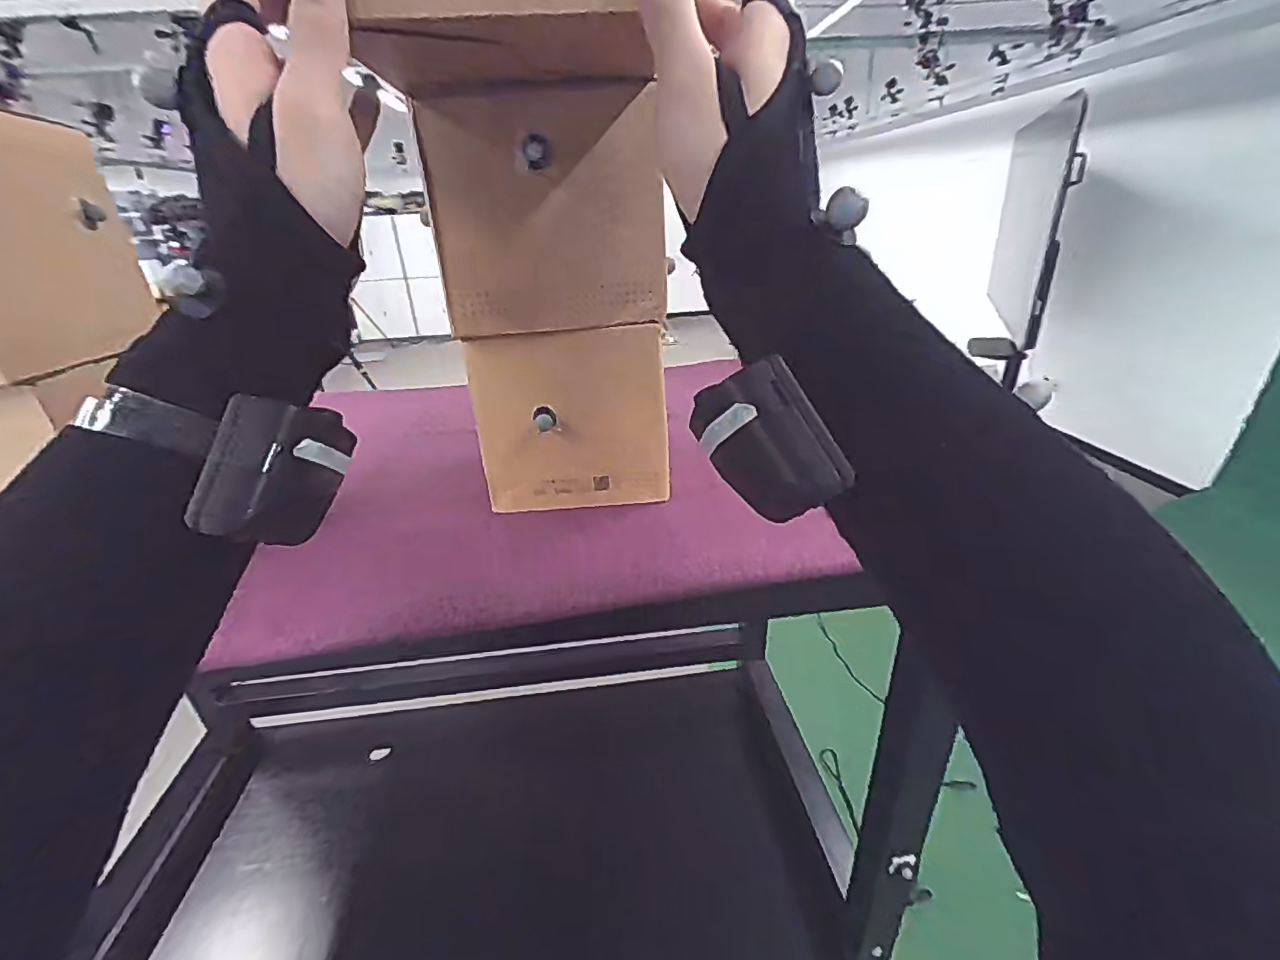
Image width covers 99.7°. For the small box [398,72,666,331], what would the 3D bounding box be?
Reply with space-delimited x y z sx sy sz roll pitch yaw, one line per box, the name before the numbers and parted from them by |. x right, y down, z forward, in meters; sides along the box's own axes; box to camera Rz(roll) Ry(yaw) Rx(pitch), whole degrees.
small box | -0.077 -0.228 0.466 0.179 0.176 0.168 -6 26 -4

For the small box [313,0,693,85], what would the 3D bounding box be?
small box | -0.074 -0.315 0.271 0.179 0.176 0.168 -6 27 -5

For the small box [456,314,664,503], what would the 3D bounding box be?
small box | -0.066 -0.084 0.543 0.168 0.176 0.179 -4 25 -1
